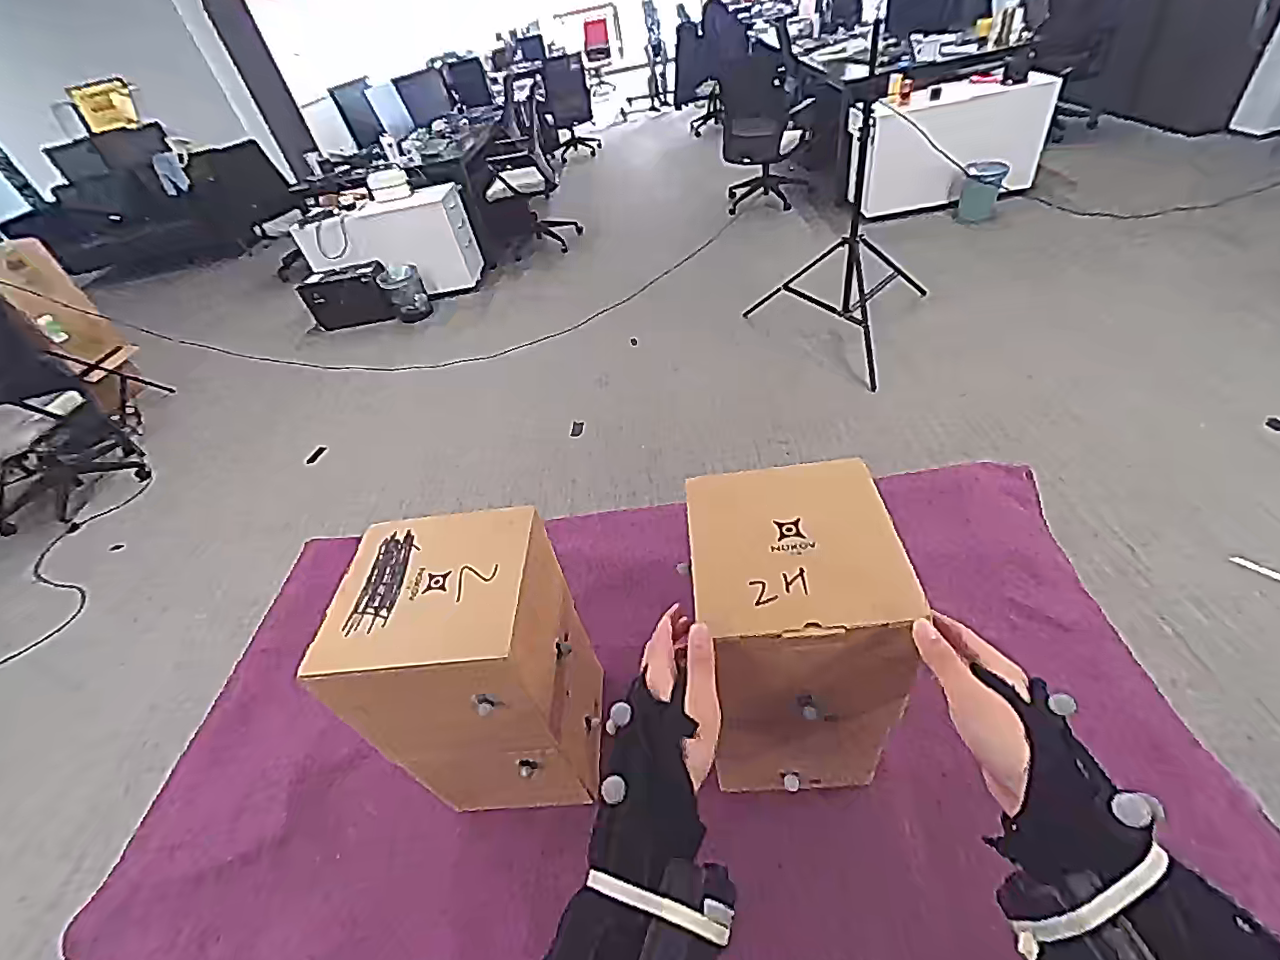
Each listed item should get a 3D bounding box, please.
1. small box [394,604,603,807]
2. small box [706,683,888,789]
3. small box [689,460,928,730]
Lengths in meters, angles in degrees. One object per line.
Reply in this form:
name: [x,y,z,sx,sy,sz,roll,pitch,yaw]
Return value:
small box: [-0.150,0.270,0.643,0.179,0.176,0.168,-7,42,5]
small box: [0.160,0.226,0.613,0.168,0.176,0.179,-6,43,7]
small box: [0.137,0.106,0.501,0.168,0.176,0.179,-7,41,8]
